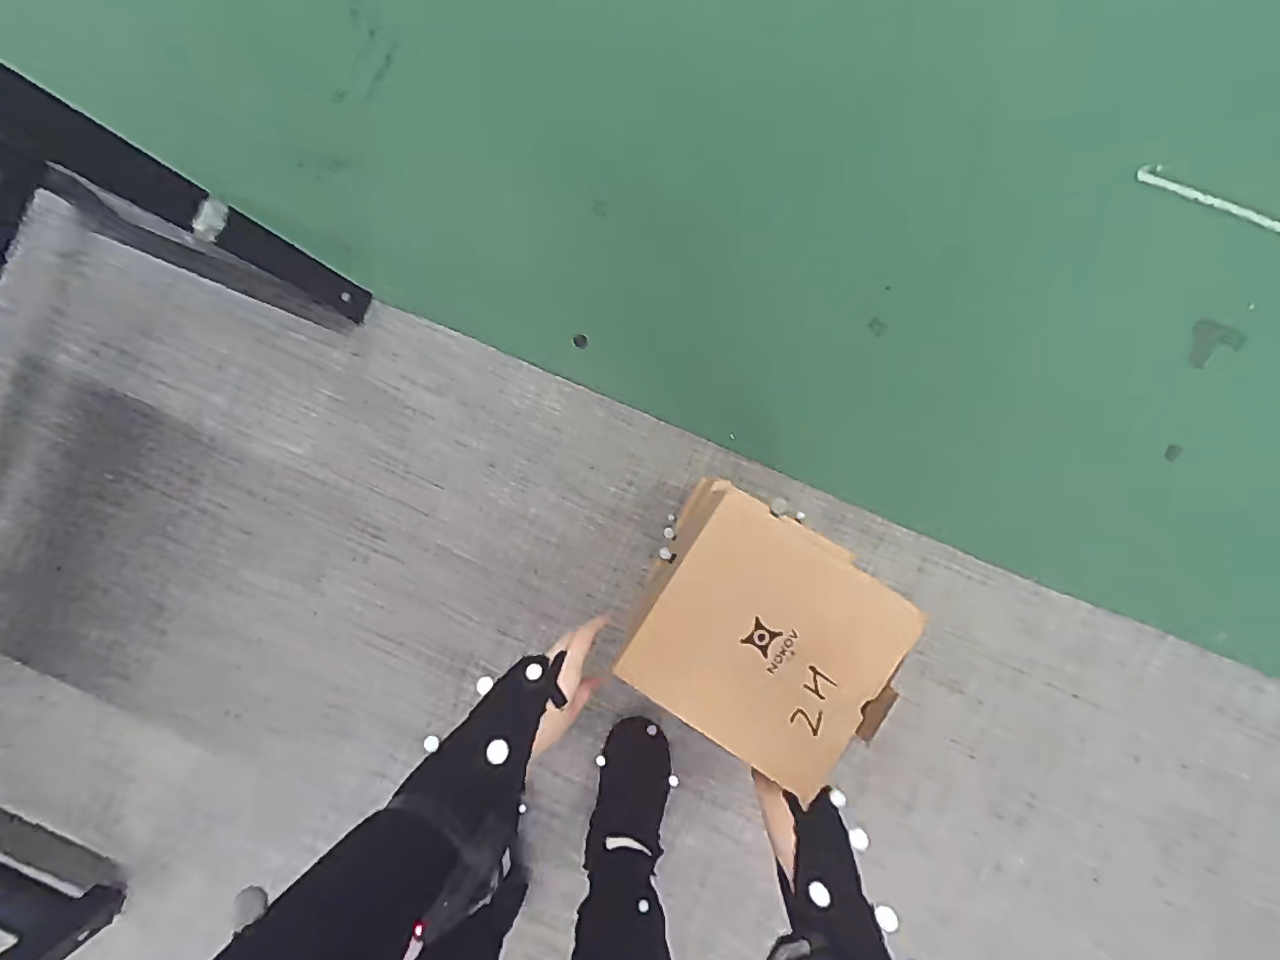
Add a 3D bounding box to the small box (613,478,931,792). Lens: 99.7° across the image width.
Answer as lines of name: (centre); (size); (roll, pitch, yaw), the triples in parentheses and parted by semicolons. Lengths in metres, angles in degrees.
small box: (0.098, 0.115, 0.471); (0.179, 0.176, 0.168); (32, 91, 3)
